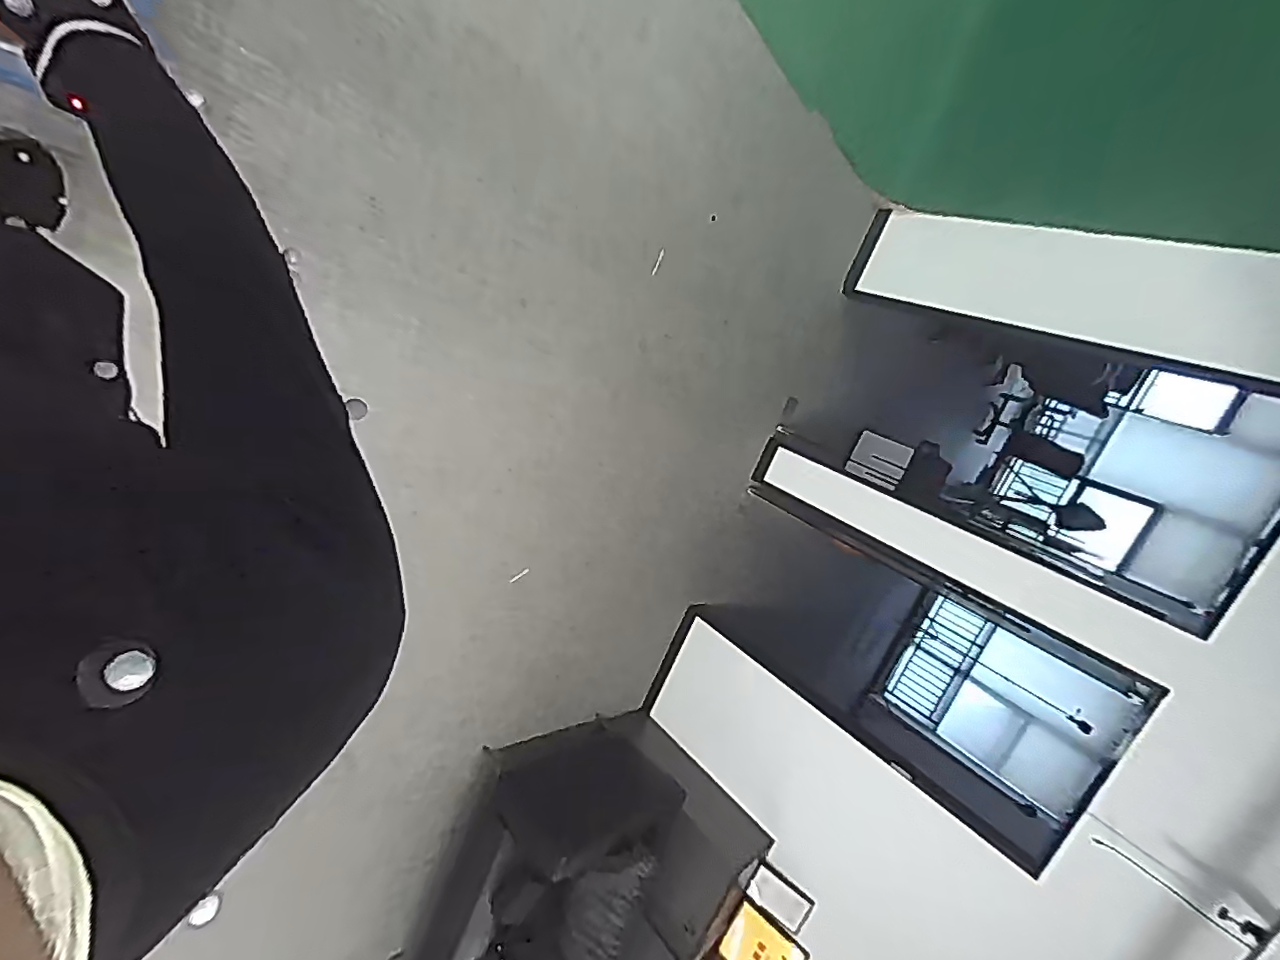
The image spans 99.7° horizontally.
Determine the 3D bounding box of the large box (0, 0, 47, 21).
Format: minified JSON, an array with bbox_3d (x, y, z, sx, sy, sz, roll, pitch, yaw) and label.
[{"bbox_3d":[-0.878,-0.822,0.576,0.320,0.320,0.408,-1,115,-46],"label":"large box"}]
